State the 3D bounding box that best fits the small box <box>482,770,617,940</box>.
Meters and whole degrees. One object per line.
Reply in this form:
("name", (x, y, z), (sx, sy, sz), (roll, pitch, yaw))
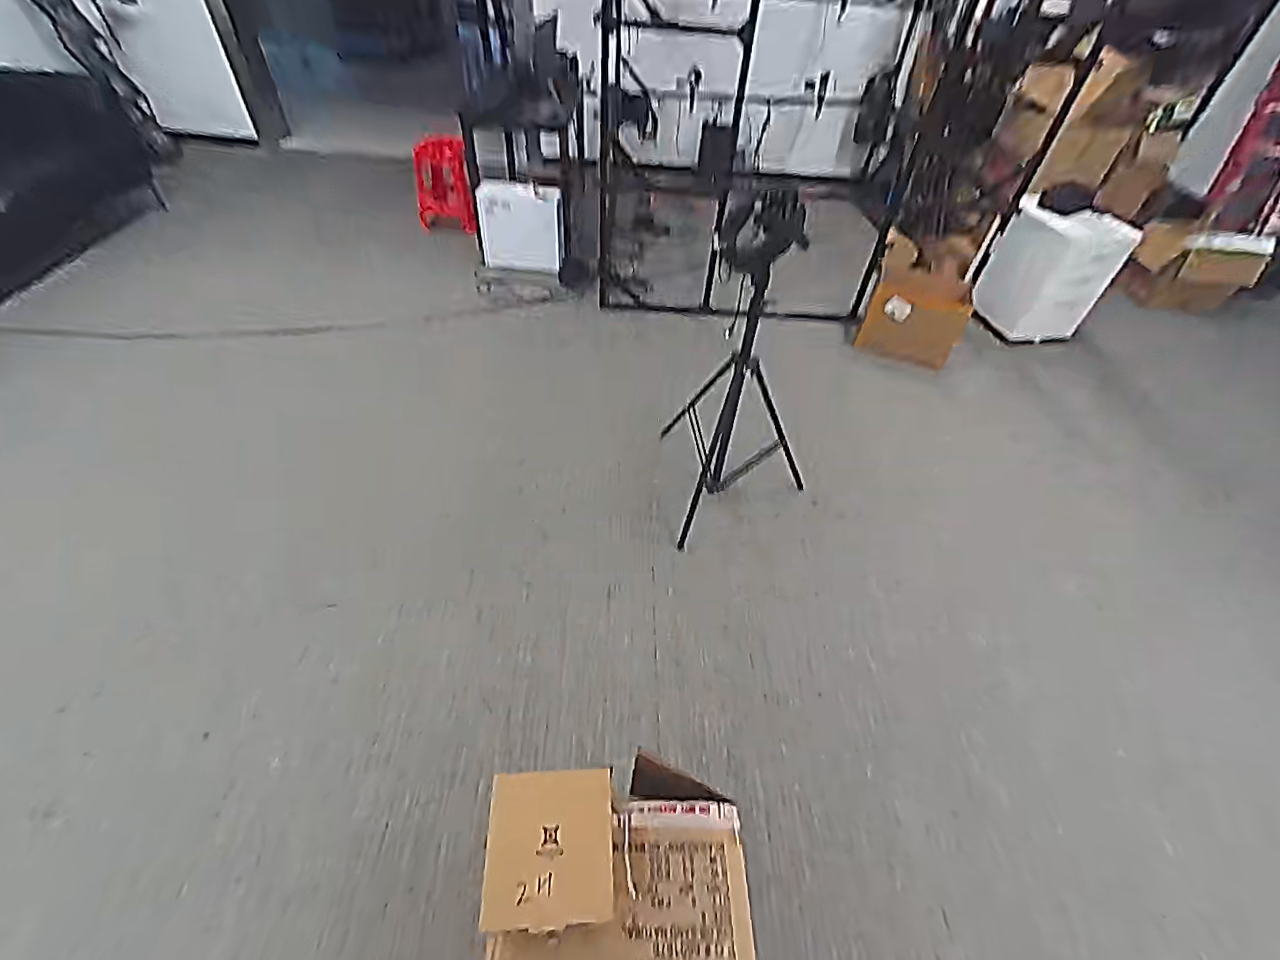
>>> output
("small box", (-0.118, 0.534, 0.770), (0.168, 0.176, 0.179), (-2, 49, -4))
